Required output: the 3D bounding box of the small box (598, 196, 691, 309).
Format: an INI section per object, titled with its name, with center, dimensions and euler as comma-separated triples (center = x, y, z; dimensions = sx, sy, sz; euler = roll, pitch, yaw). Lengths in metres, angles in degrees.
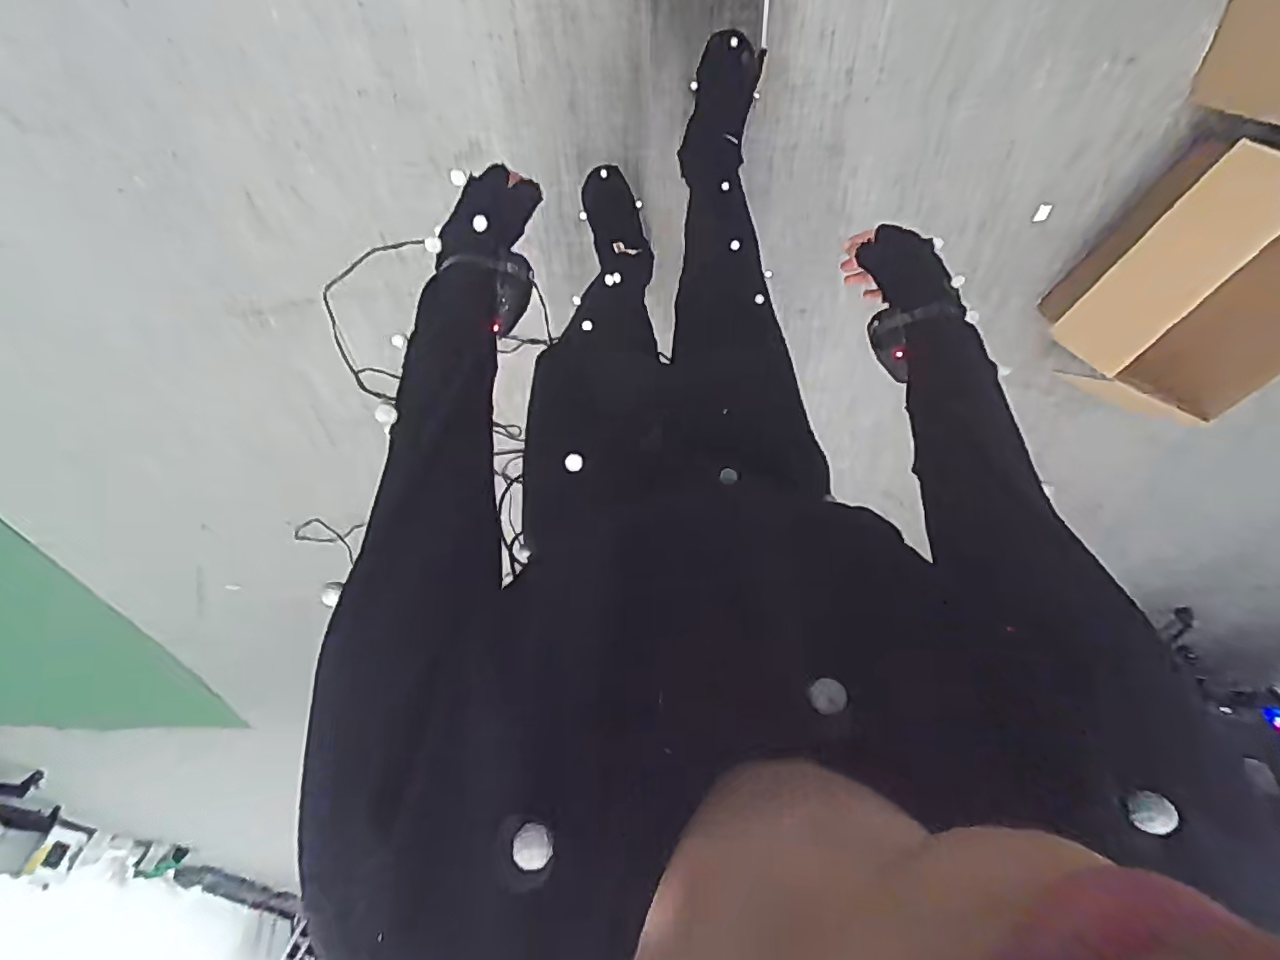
[small box]
center = 0.003, -0.499, 1.184
dimensions = 0.168, 0.176, 0.179
euler = -7, 137, -11
